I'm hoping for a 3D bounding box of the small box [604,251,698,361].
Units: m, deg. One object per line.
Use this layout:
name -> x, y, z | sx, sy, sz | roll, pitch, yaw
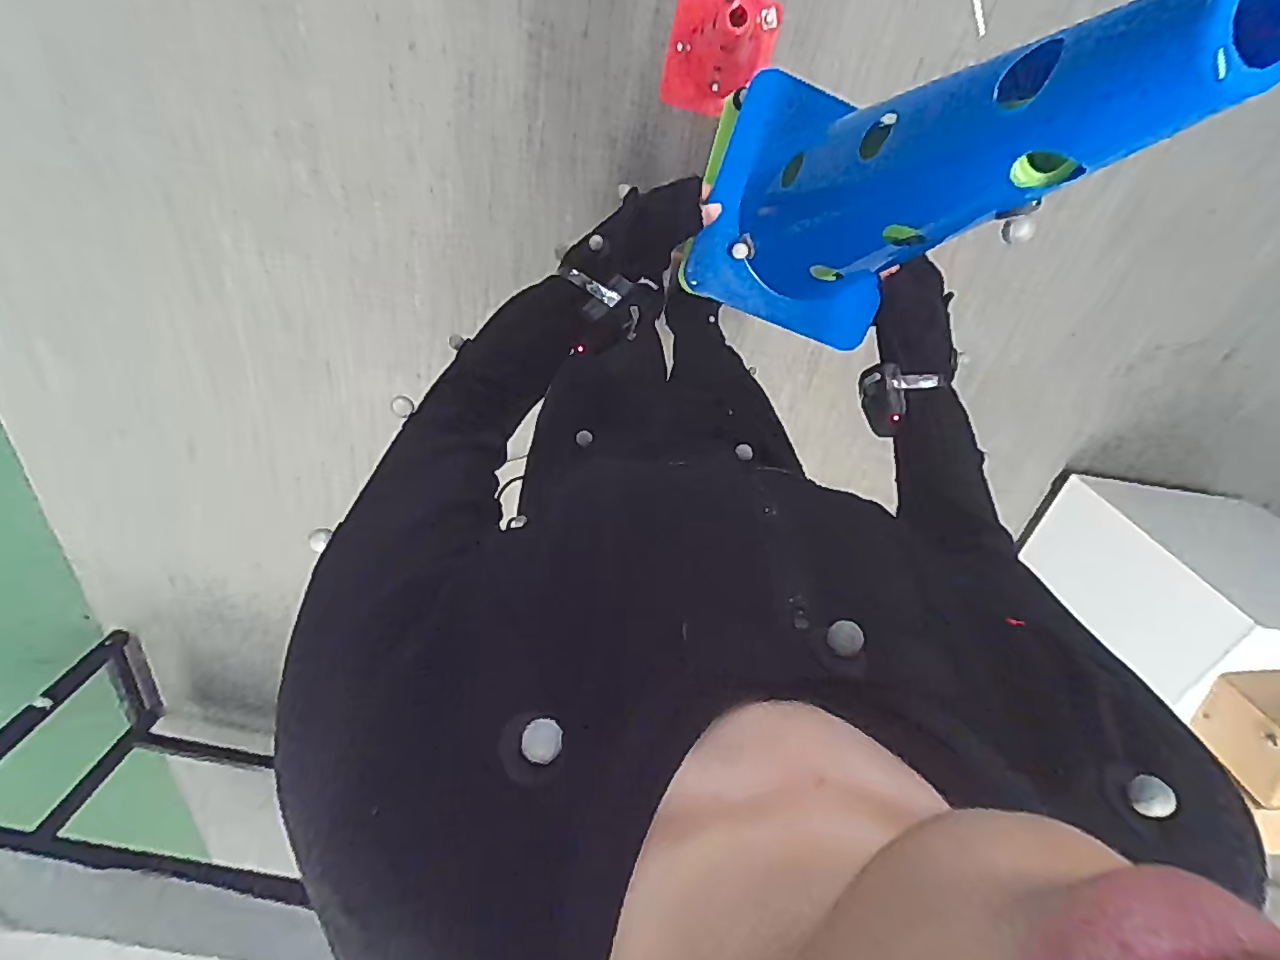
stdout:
small box -> 0.016, -0.408, 1.264 | 0.168, 0.176, 0.179 | 9, 125, -17
